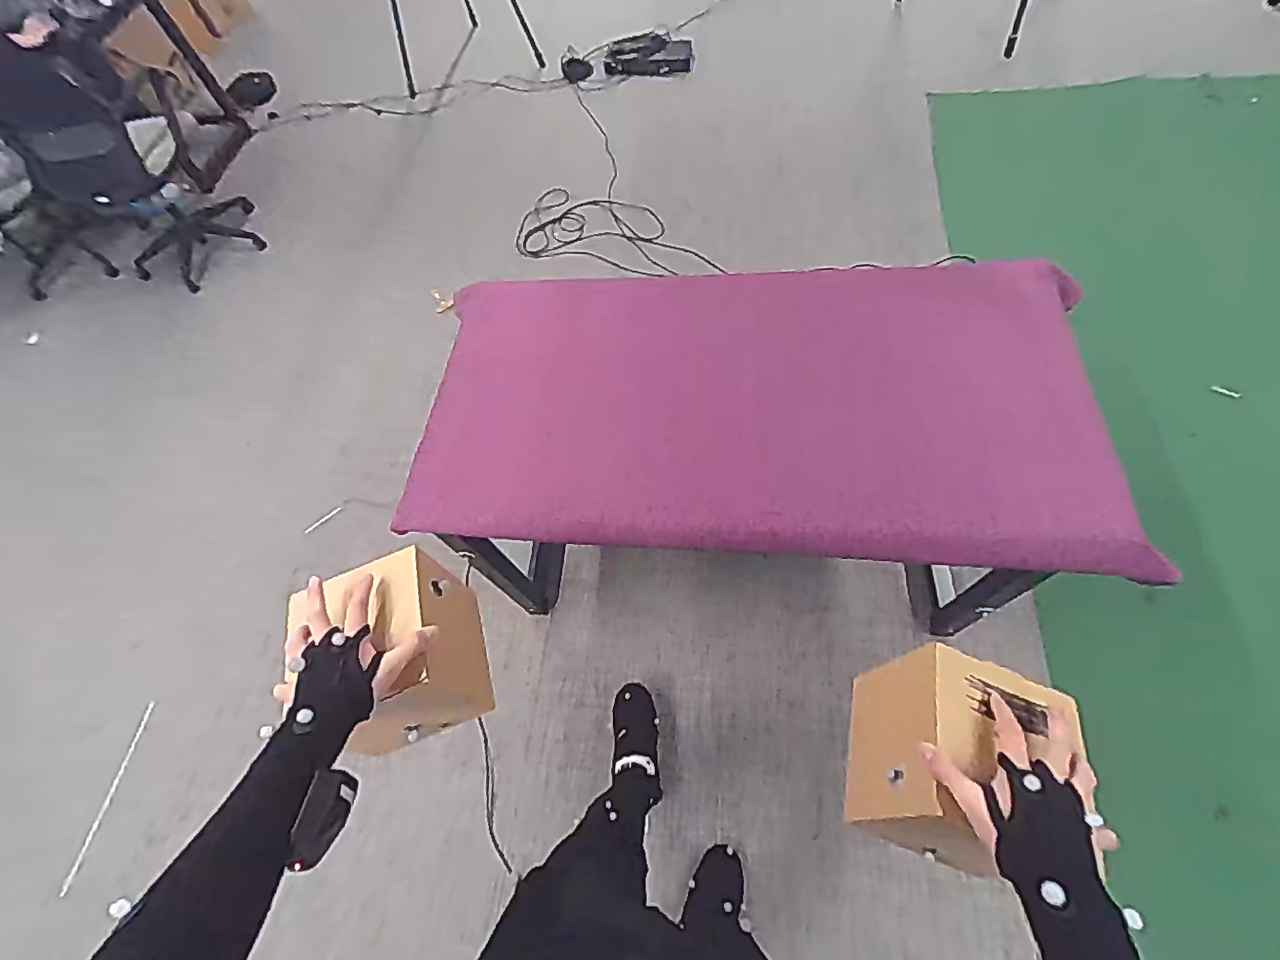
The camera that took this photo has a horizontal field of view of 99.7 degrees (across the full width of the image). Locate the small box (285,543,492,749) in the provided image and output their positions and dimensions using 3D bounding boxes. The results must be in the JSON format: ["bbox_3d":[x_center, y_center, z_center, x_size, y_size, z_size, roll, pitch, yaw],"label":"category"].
[{"bbox_3d":[-0.306,0.214,0.684,0.168,0.176,0.179,-22,54,0],"label":"small box"}]
